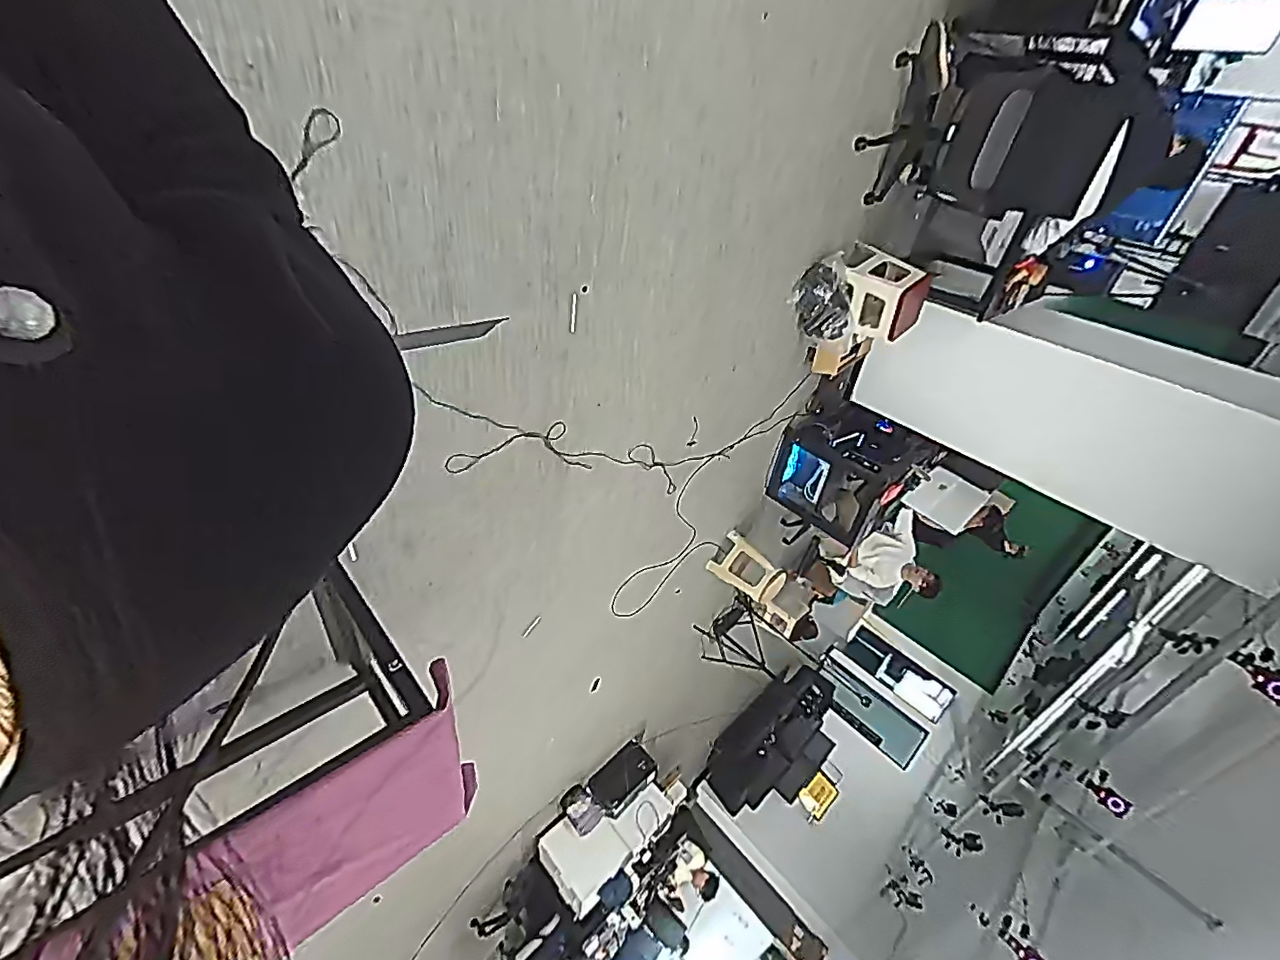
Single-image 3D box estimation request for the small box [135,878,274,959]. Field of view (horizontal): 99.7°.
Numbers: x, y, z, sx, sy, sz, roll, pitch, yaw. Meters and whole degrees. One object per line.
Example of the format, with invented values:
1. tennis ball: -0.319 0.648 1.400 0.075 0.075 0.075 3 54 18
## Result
1. small box: -0.833 0.928 1.048 0.168 0.176 0.179 -24 138 -40
